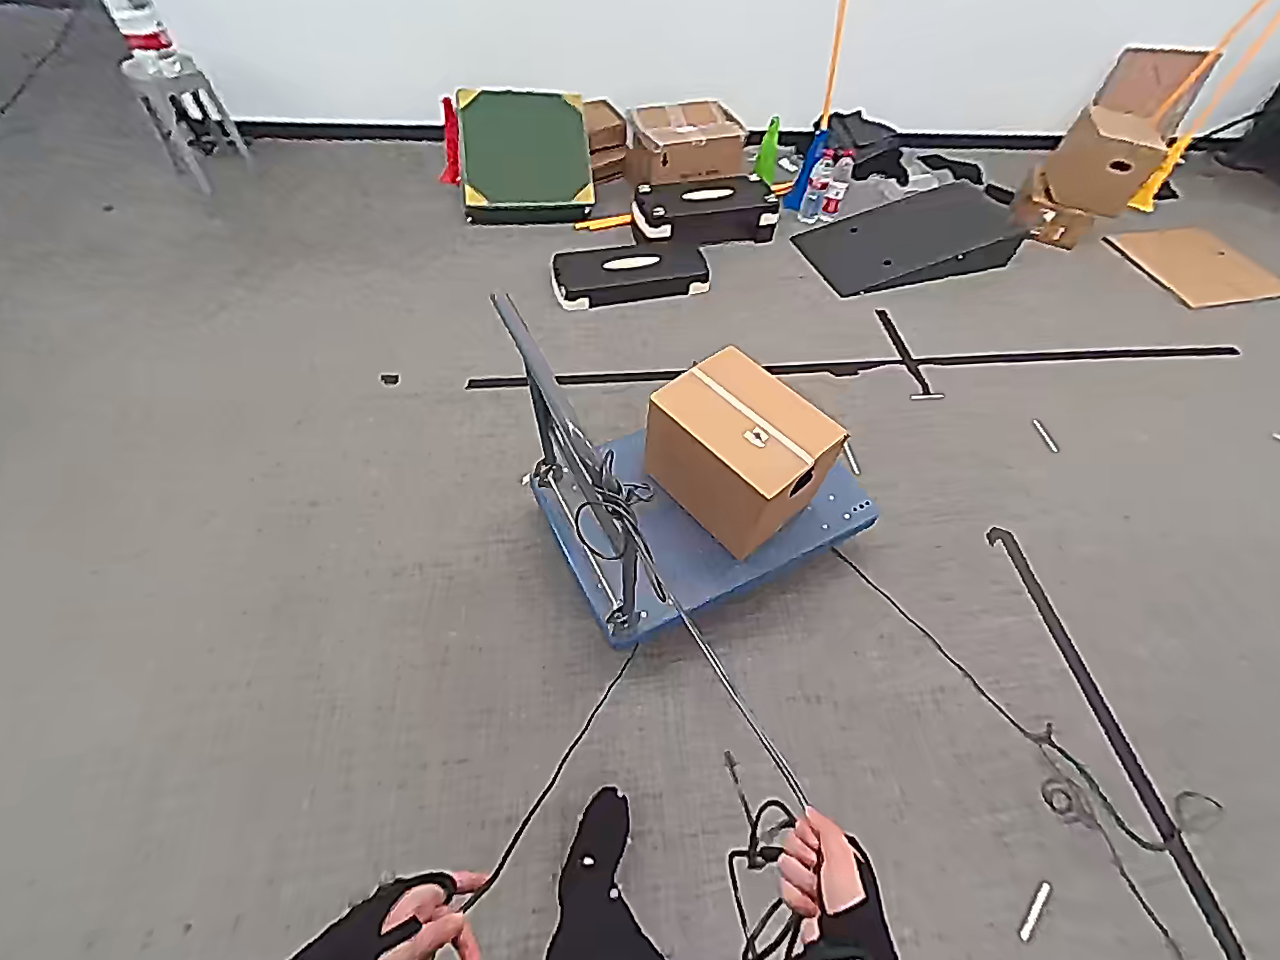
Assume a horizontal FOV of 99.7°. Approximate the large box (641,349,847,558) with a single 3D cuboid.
[{"bbox_3d":[0.255,-0.073,1.461,0.320,0.320,0.408,-35,65,-24],"label":"large box"}]
